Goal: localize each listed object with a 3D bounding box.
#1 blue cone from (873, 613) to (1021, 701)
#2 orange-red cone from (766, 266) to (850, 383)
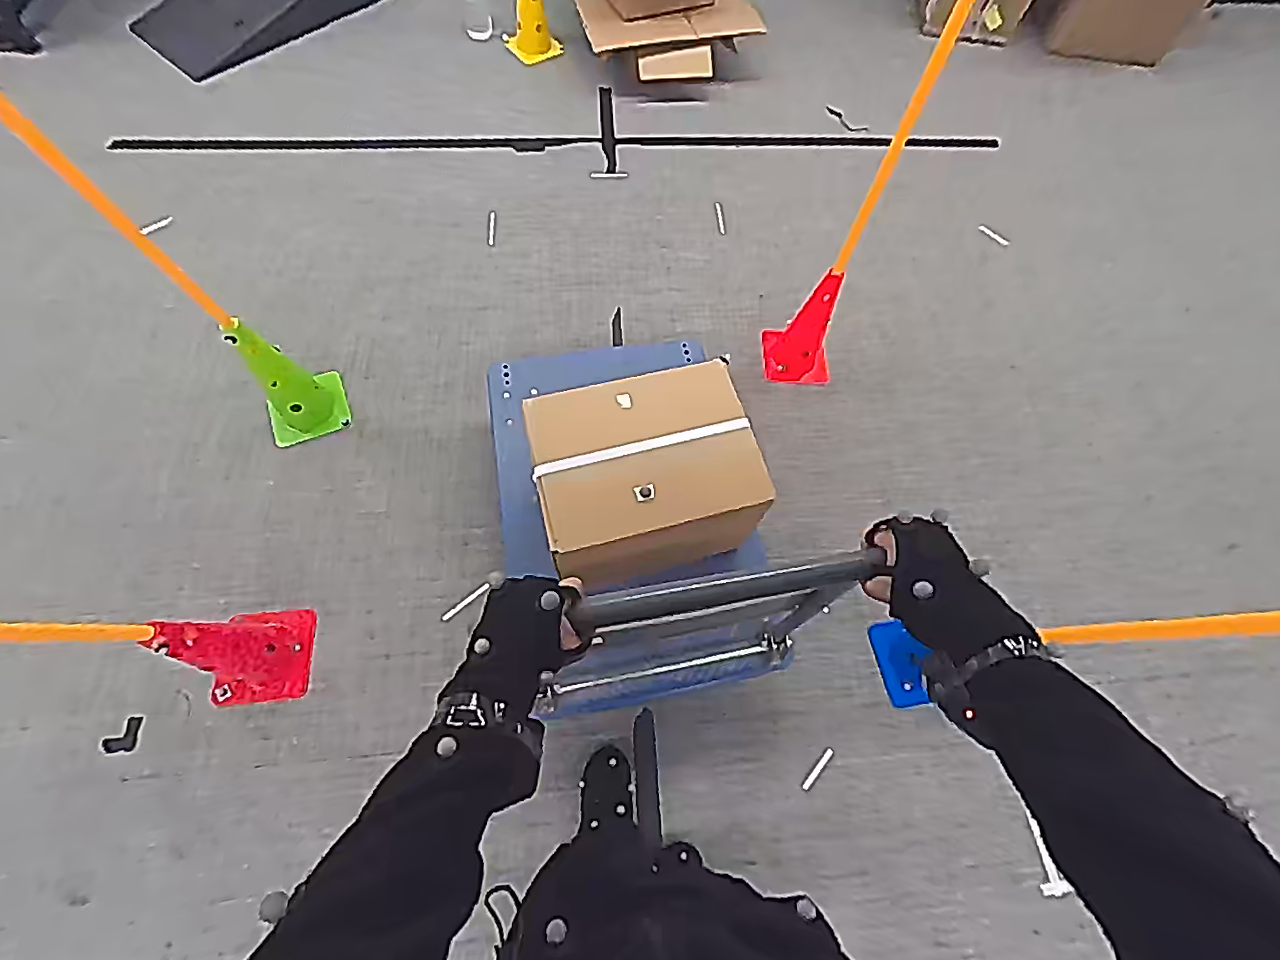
[{"bbox_3d":[0.696,0.365,1.183,0.193,0.380,0.192,-6,65,-7],"label":"blue cone"},{"bbox_3d":[0.503,-0.458,1.523,0.199,0.360,0.198,4,66,-3],"label":"orange-red cone"}]
